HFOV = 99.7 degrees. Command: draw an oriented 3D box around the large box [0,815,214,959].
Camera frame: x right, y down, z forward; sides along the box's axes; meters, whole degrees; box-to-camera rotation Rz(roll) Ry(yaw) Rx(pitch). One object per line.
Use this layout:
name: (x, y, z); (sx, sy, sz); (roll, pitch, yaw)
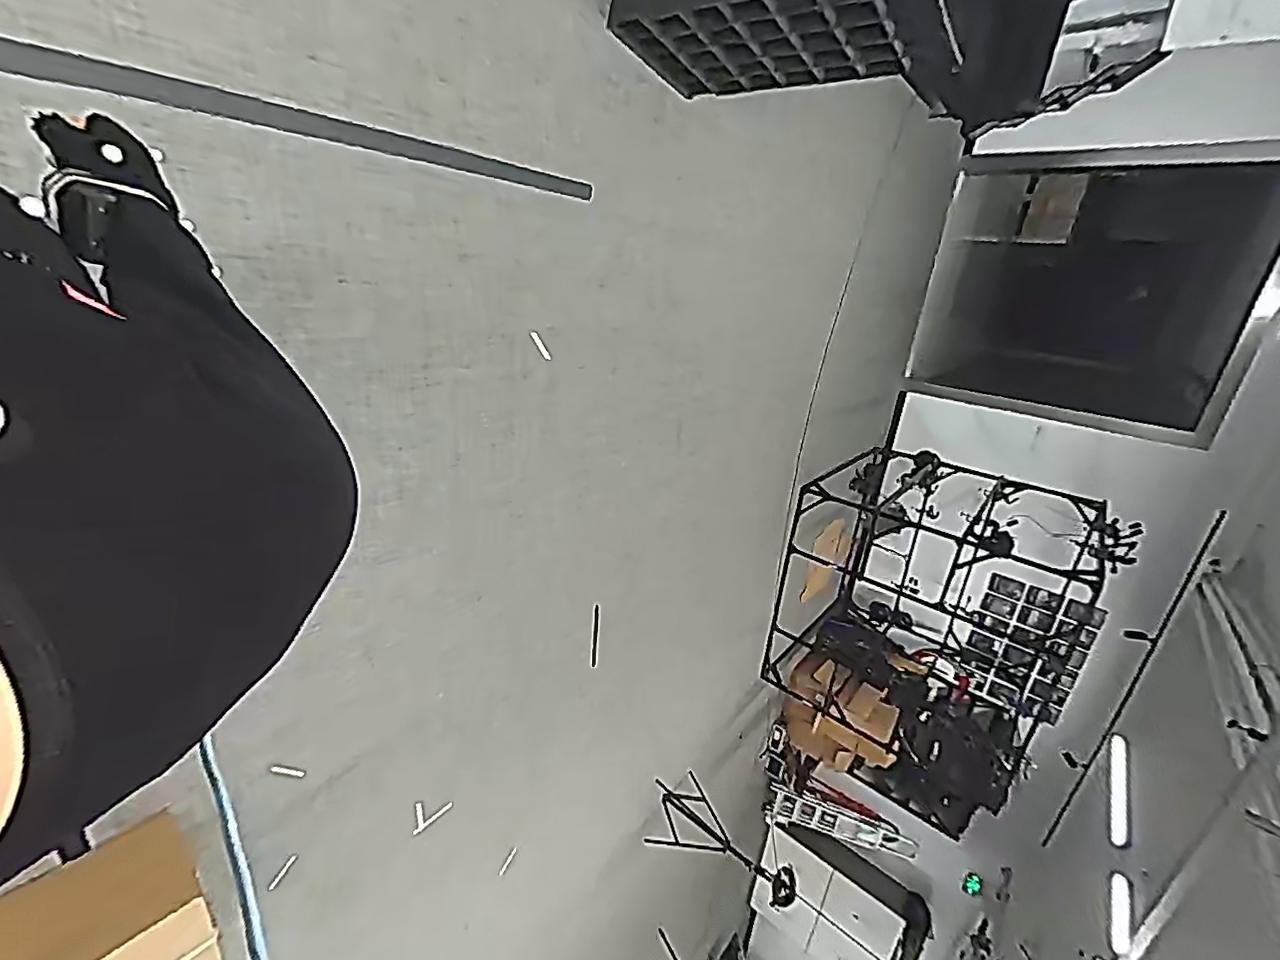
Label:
large box: (-1.286, 1.095, 1.240); (0.408, 0.320, 0.320); (-18, 122, -48)
